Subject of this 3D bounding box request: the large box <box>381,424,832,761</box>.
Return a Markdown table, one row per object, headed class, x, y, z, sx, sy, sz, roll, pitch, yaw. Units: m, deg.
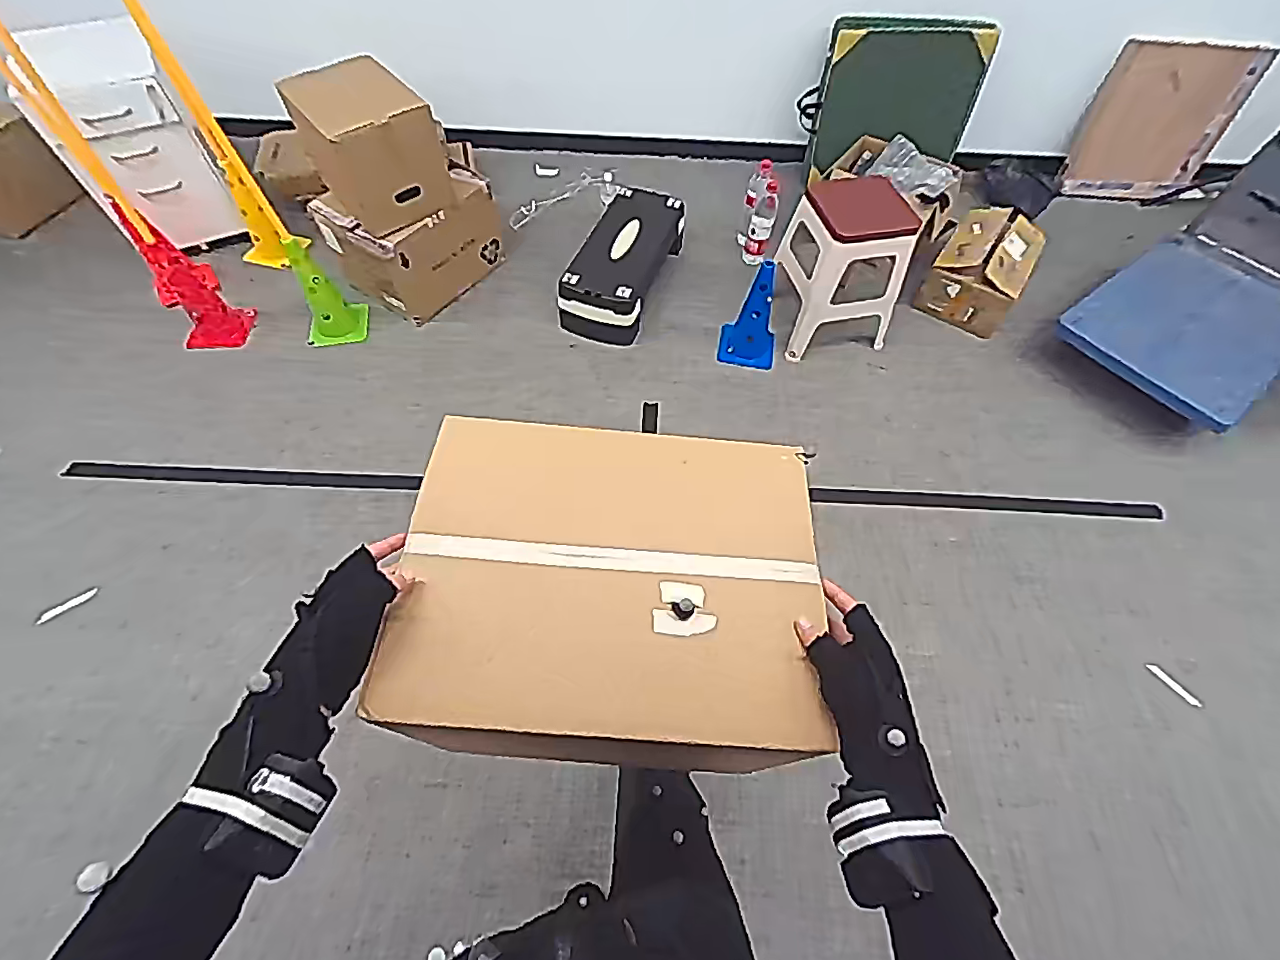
| class | x | y | z | sx | sy | sz | roll | pitch | yaw |
| --- | --- | --- | --- | --- | --- | --- | --- | --- | --- |
| large box | -0.033 | 0.158 | 0.671 | 0.408 | 0.320 | 0.320 | 5 | 59 | -3 |
